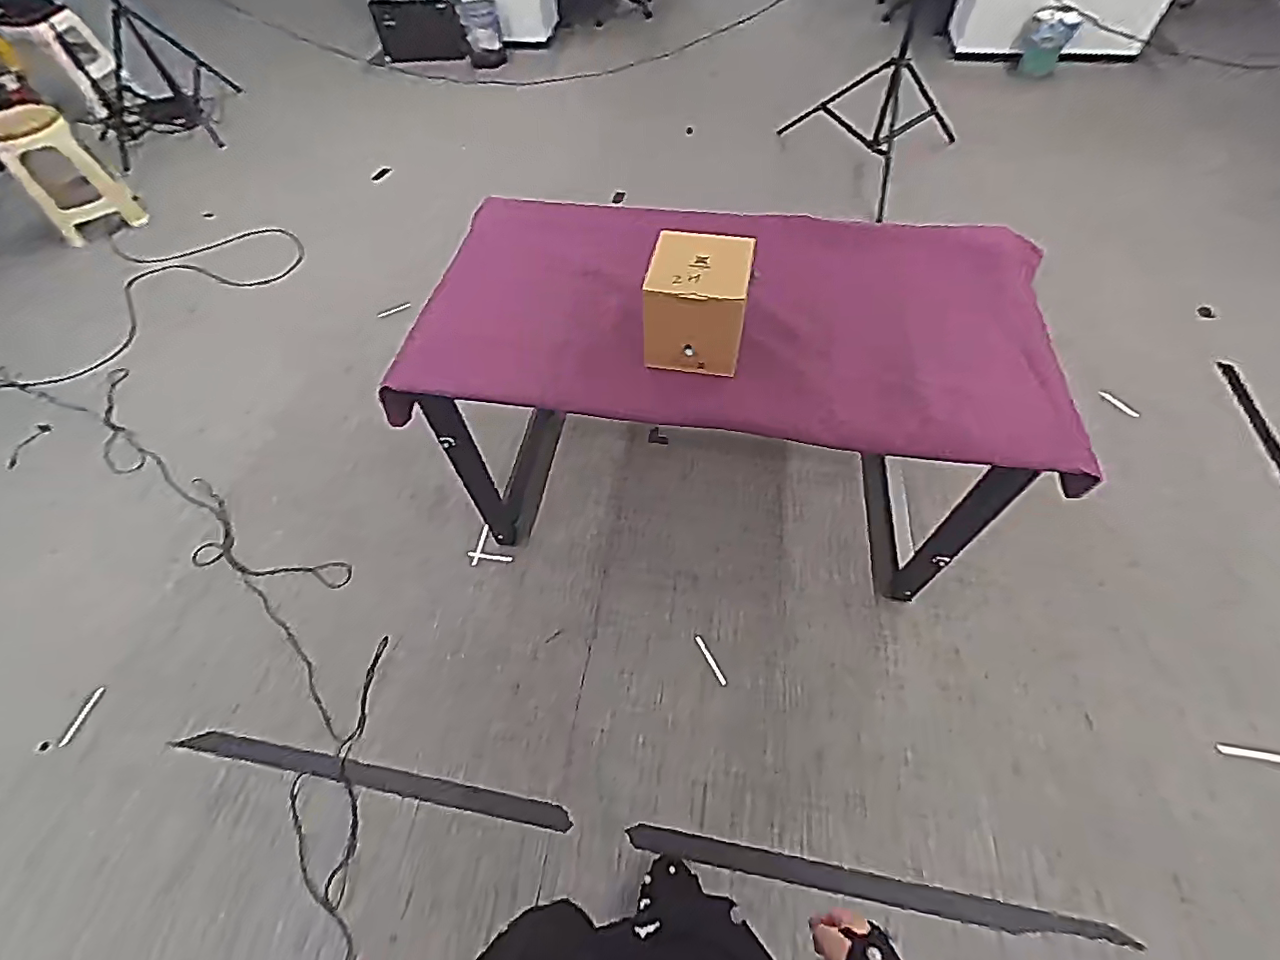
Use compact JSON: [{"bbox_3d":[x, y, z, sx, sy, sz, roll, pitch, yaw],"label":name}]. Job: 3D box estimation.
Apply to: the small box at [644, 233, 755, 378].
[{"bbox_3d":[0.105,-0.312,0.969,0.168,0.176,0.179,9,57,9],"label":"small box"}]
